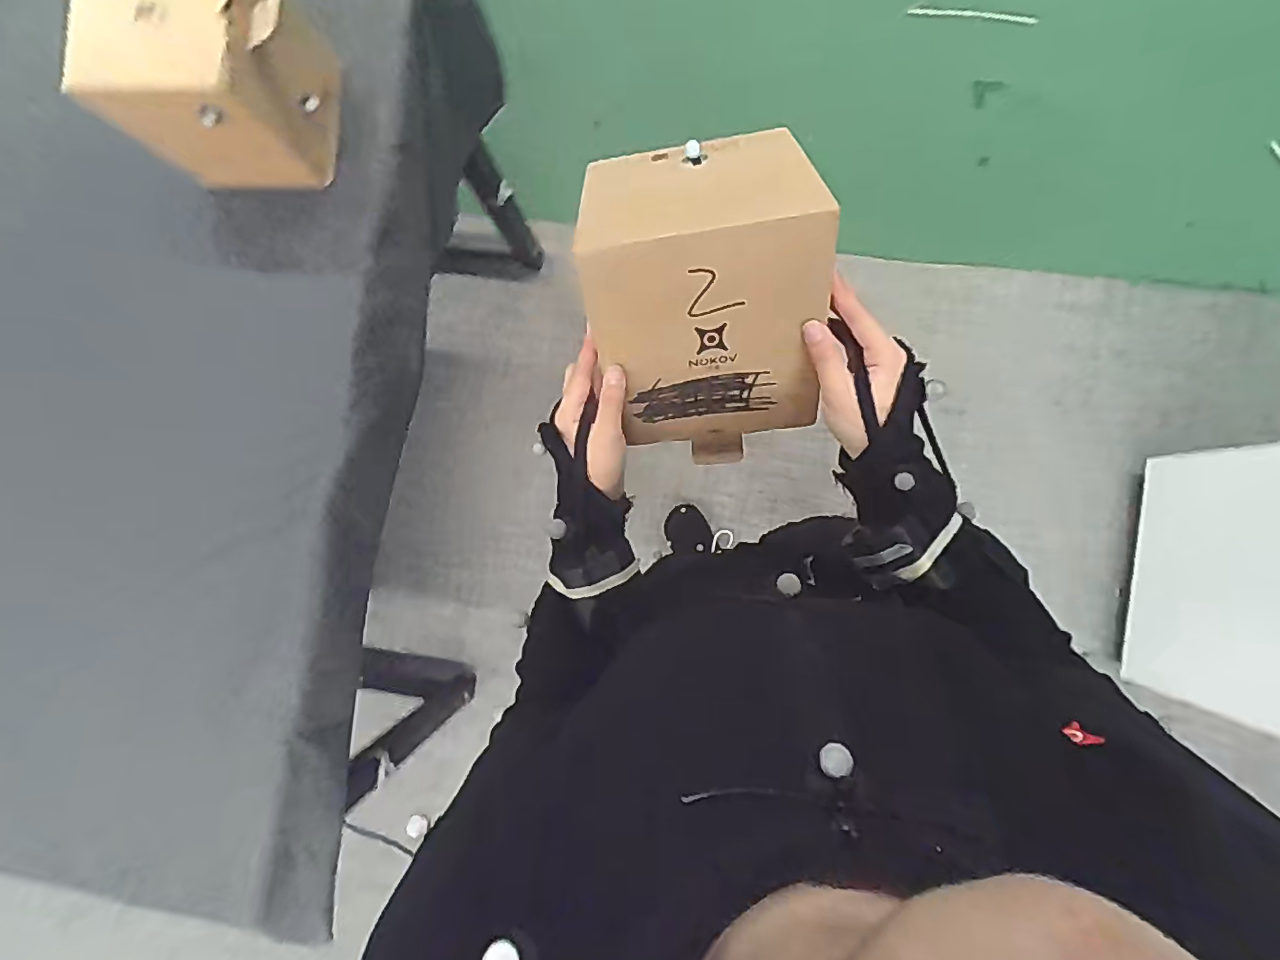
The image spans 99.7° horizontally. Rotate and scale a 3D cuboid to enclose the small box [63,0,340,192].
[{"bbox_3d":[-0.487,-0.458,0.625,0.179,0.176,0.168,2,87,4],"label":"small box"}]
